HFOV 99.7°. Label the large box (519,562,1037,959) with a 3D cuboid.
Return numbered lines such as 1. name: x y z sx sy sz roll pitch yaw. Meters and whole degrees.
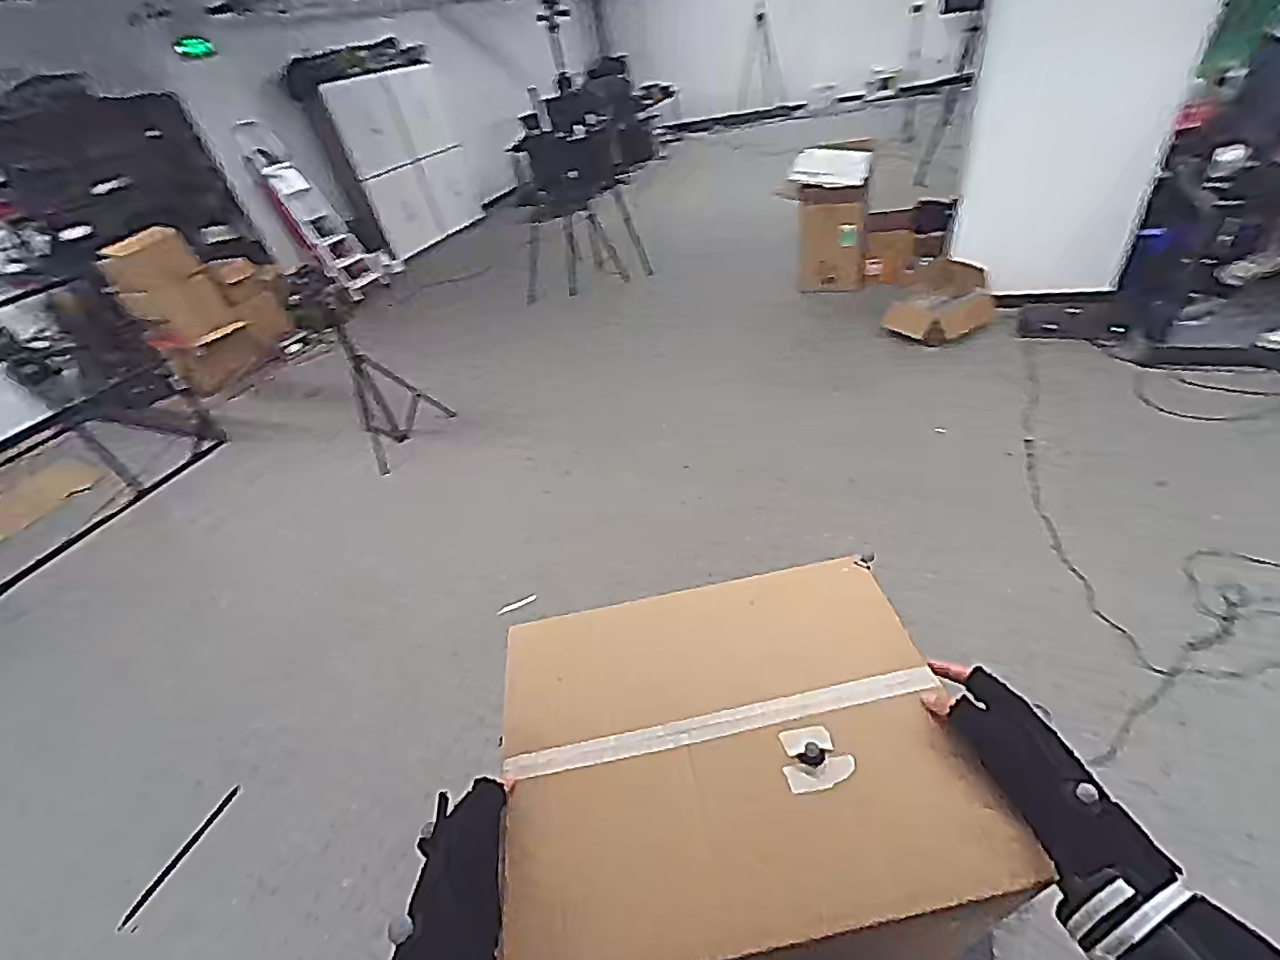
1. large box: 0.101 0.341 0.603 0.408 0.320 0.320 -11 41 -2
